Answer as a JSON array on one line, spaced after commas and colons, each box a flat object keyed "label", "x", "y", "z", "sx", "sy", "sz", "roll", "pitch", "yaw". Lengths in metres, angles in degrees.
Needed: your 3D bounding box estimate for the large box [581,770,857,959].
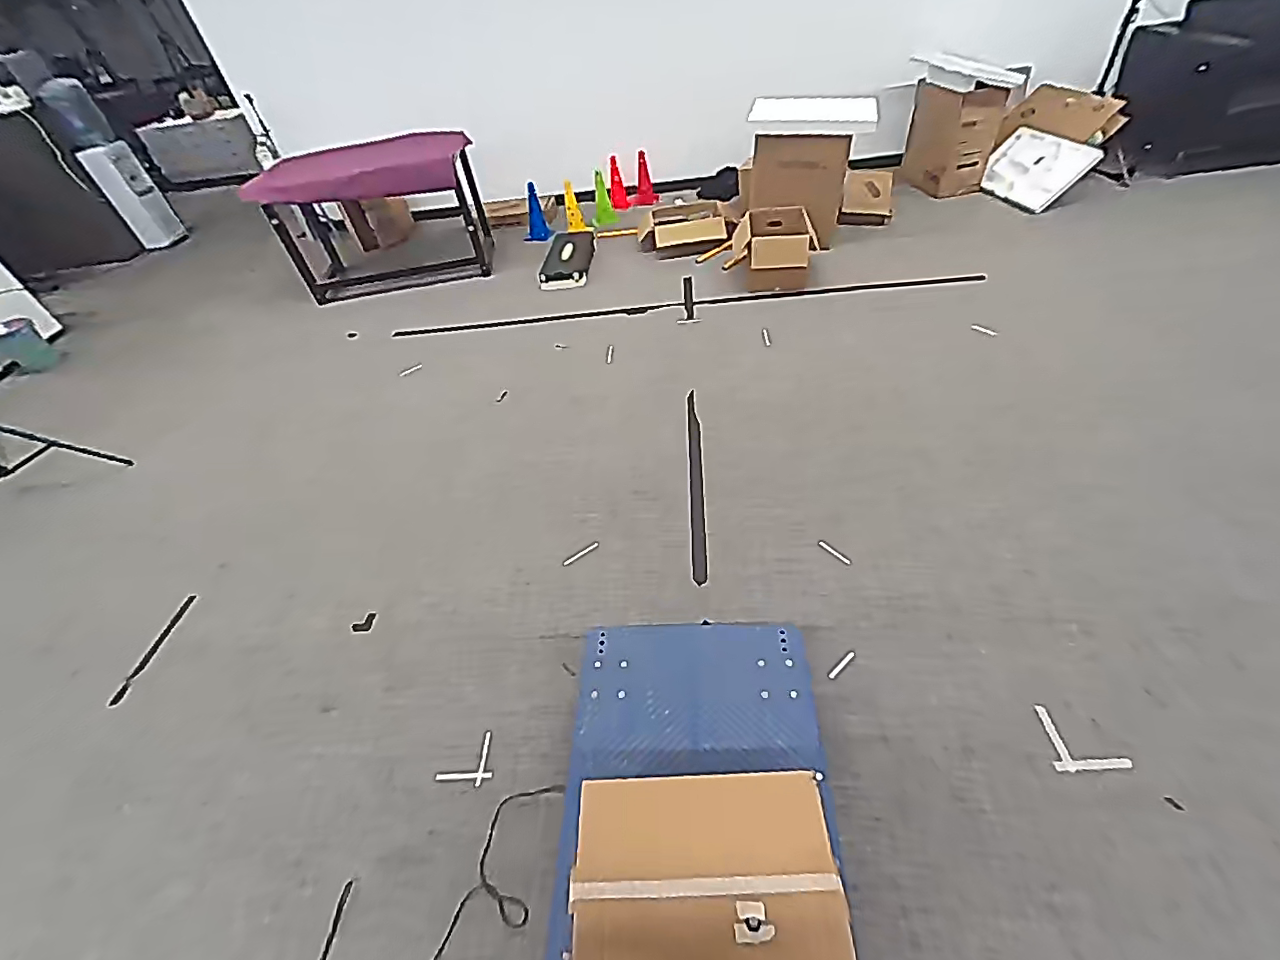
[{"label": "large box", "x": 0.119, "y": 0.734, "z": 0.943, "sx": 0.408, "sy": 0.320, "sz": 0.320, "roll": -5, "pitch": 45, "yaw": 3}]
